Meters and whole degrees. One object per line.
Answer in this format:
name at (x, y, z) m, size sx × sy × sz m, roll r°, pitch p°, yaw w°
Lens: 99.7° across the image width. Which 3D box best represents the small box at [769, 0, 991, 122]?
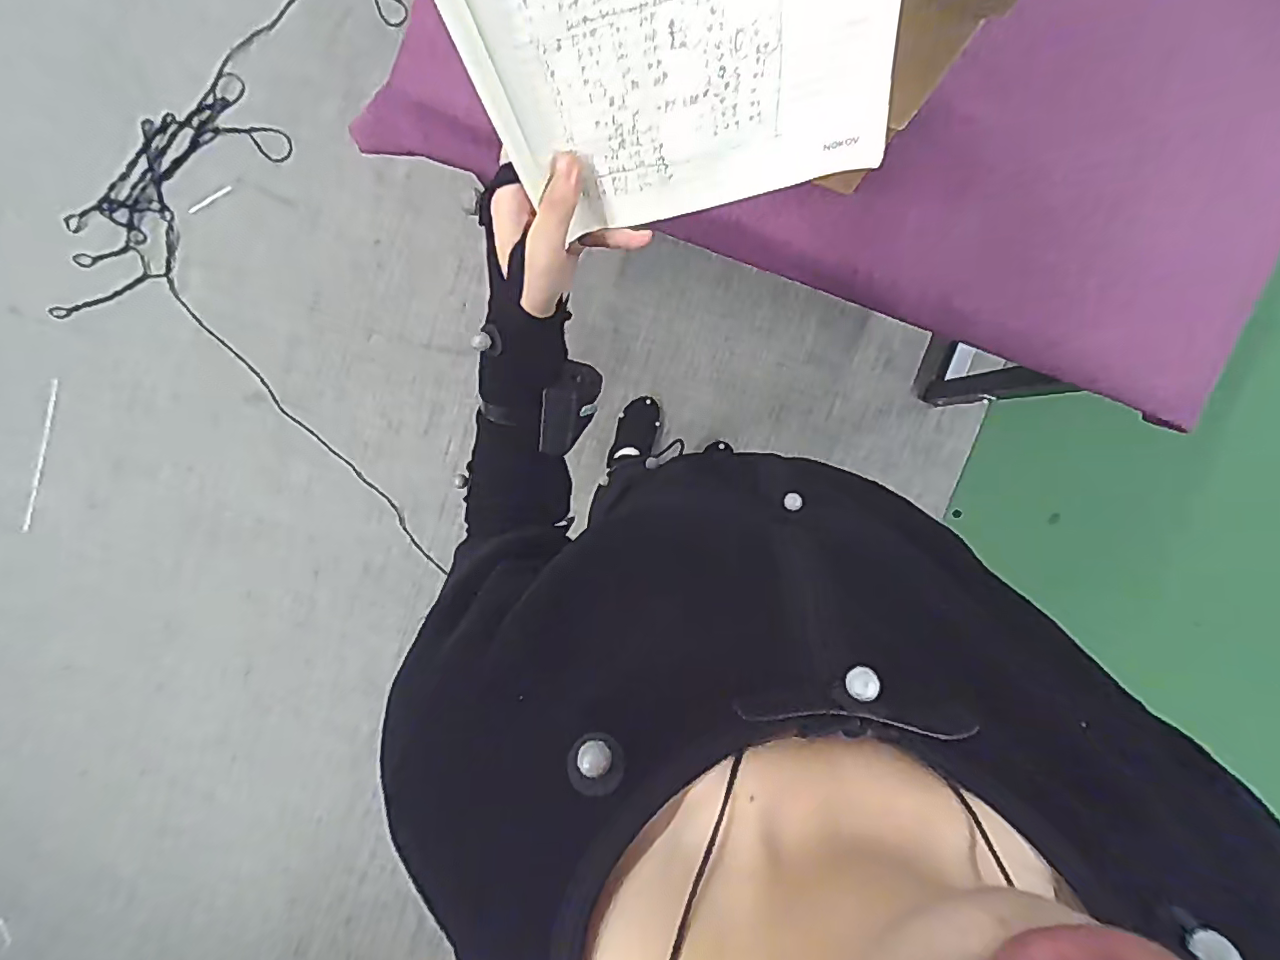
small box at (0.229, -0.474, 0.489) m, size 0.168 × 0.176 × 0.179 m, roll 21°, pitch 94°, yaw 1°
